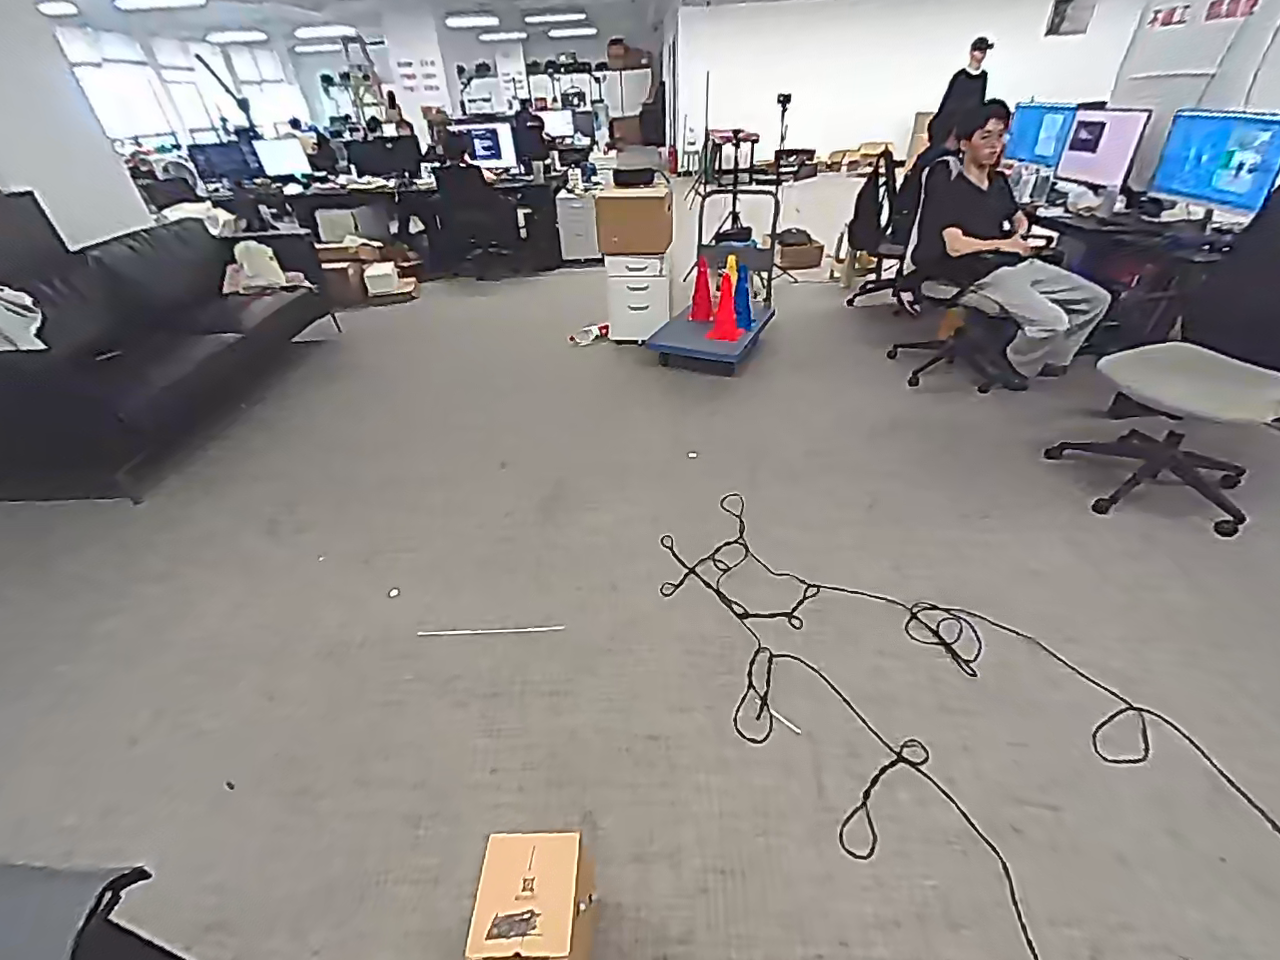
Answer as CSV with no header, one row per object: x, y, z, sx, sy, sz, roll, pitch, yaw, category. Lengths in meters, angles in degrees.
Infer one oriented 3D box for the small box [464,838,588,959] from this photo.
-0.184,0.751,0.934,0.168,0.176,0.179,-2,34,2,small box

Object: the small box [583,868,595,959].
-0.180,0.877,1.038,0.168,0.176,0.179,-1,34,4,small box
